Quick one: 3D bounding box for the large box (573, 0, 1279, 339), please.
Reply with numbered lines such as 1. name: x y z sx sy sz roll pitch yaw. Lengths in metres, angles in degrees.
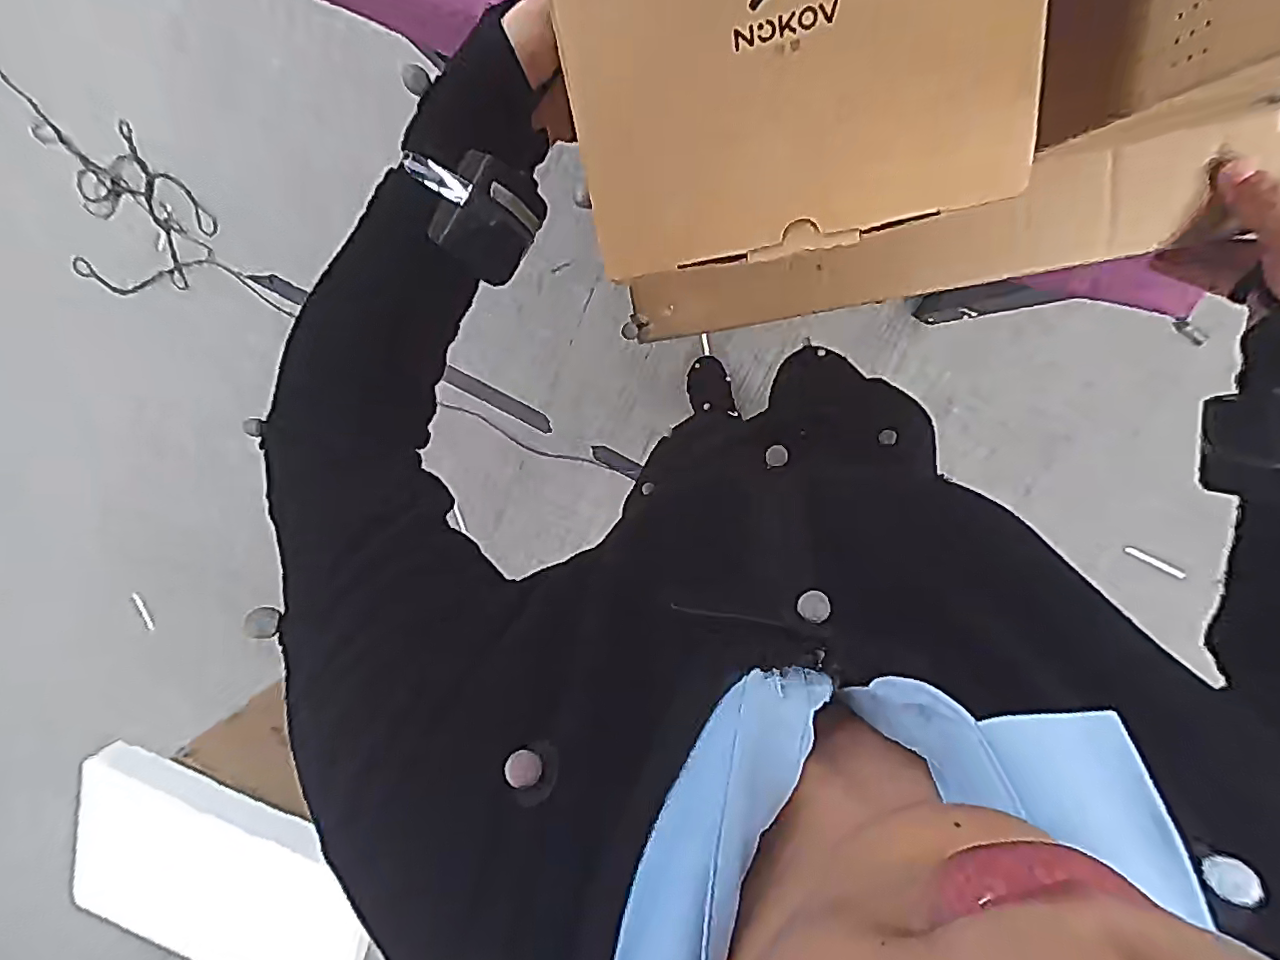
1. large box: 0.192 -0.327 0.452 0.408 0.320 0.320 -7 107 16
